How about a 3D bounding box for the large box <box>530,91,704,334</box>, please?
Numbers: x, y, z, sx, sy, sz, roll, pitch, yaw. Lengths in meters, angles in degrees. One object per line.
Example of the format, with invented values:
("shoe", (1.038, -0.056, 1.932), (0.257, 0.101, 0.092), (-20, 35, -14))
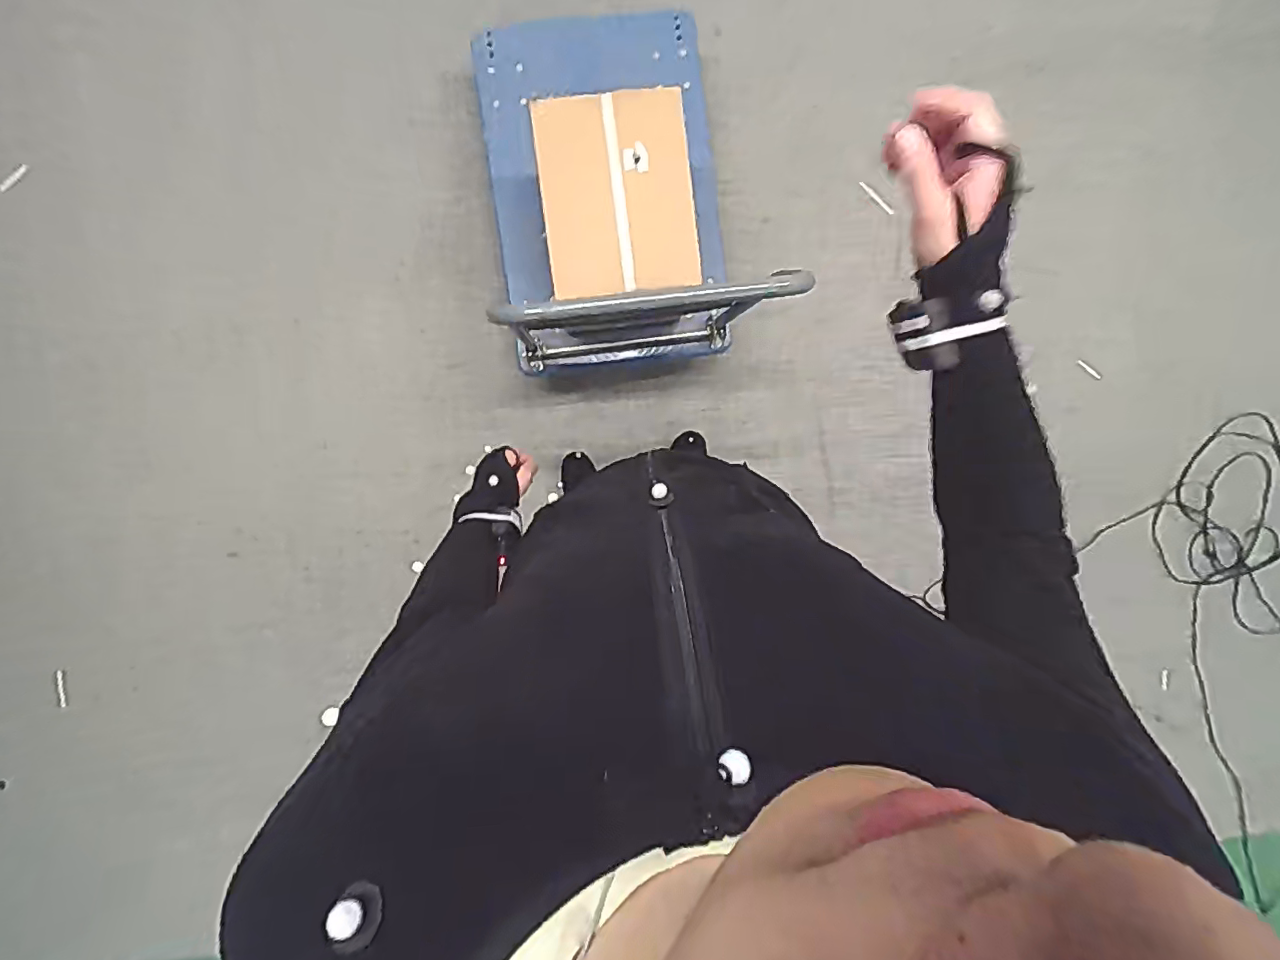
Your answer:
("large box", (-0.051, -0.588, 1.260), (0.320, 0.320, 0.408), (-8, 93, -4))
